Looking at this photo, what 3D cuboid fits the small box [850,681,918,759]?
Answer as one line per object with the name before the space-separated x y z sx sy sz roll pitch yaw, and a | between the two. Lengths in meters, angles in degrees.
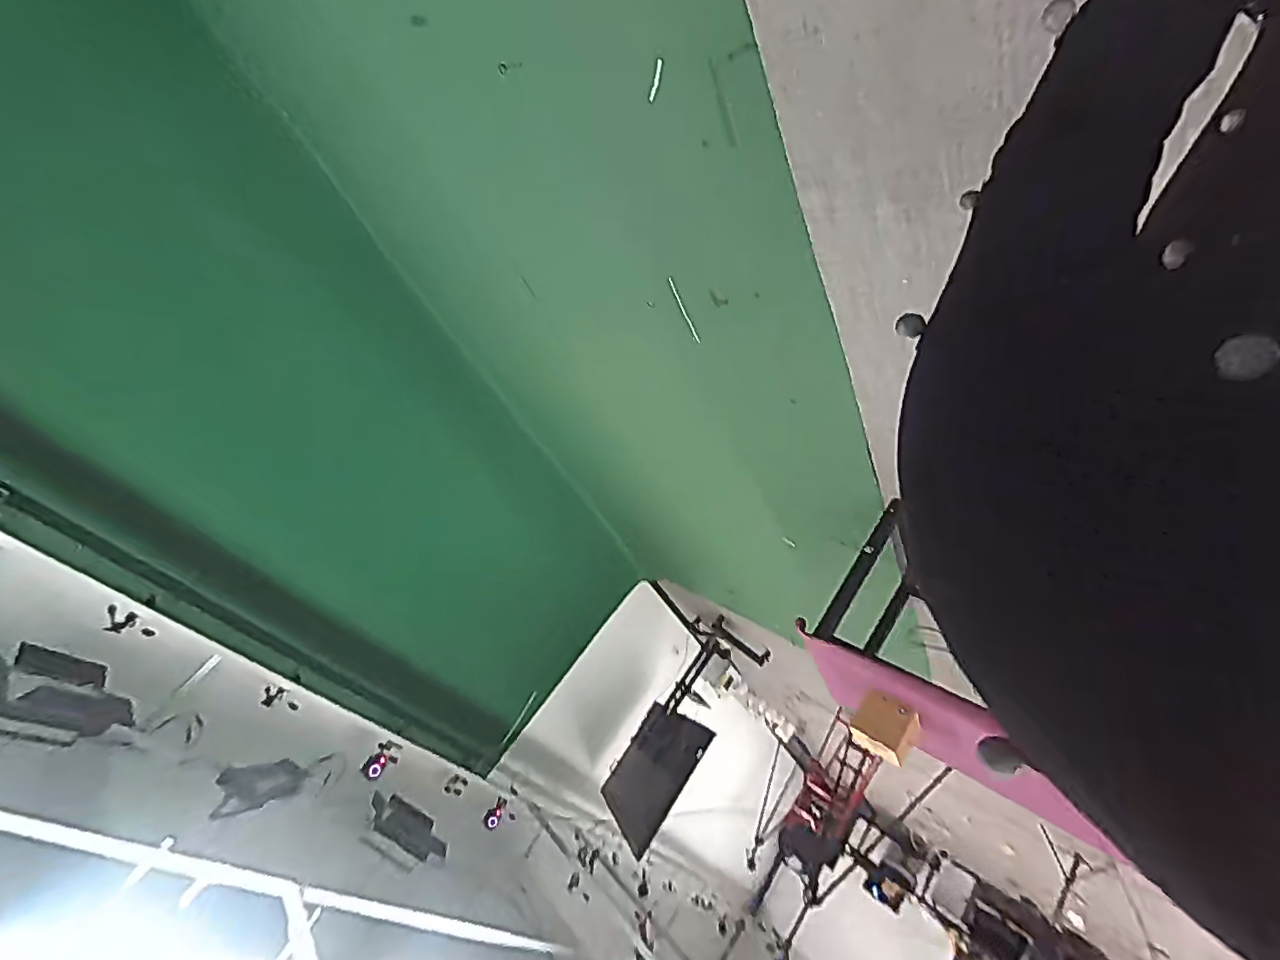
small box | 0.869 0.846 1.918 0.168 0.176 0.179 24 155 42
